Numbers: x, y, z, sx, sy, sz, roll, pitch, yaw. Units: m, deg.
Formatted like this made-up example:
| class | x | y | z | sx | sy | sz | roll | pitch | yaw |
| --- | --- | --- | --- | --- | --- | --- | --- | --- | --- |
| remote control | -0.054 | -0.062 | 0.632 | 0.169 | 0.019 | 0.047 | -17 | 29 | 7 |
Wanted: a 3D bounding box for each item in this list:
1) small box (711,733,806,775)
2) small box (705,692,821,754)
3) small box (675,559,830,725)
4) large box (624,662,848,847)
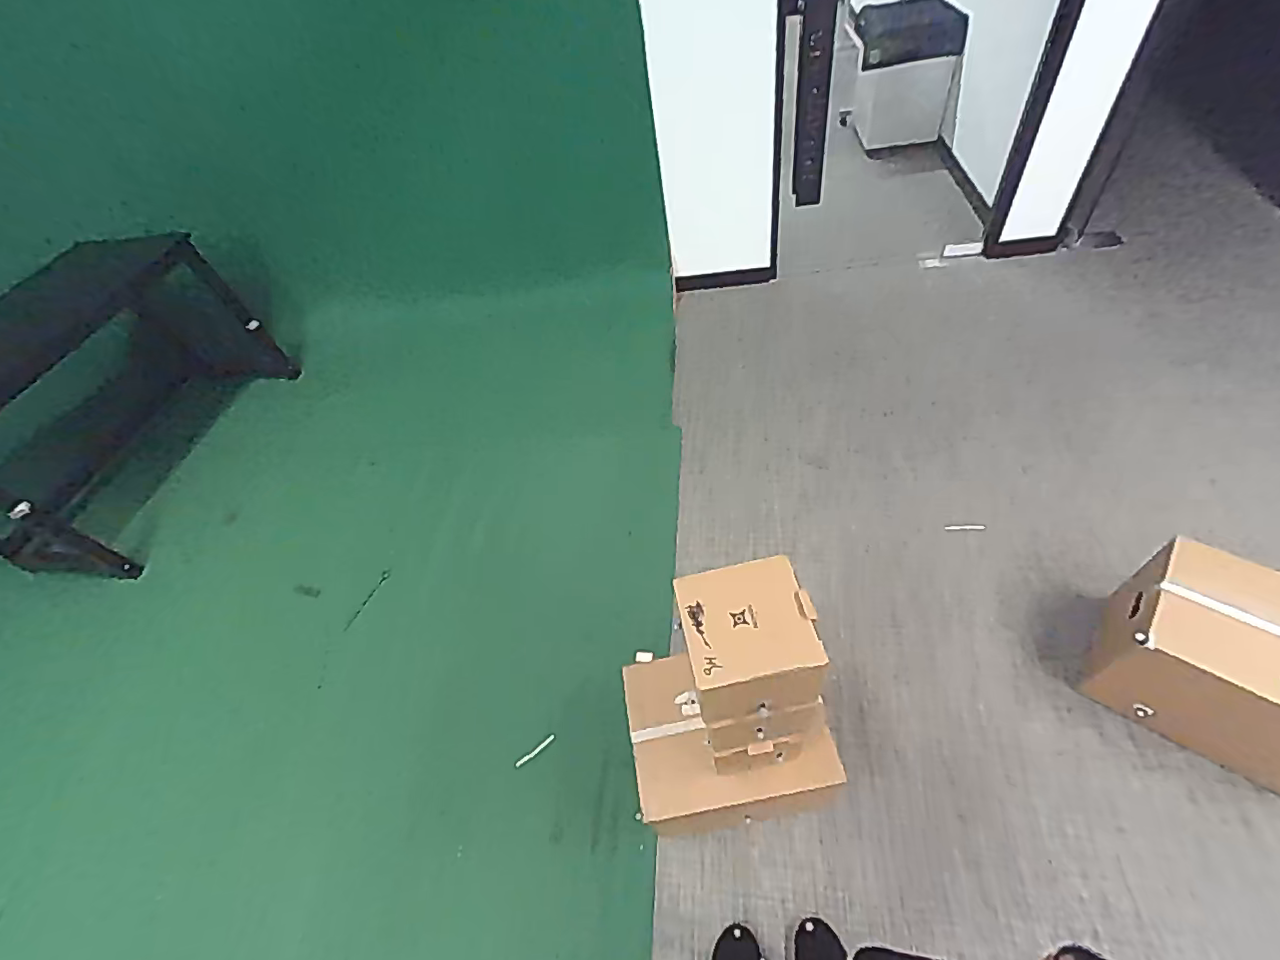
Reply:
| class | x | y | z | sx | sy | sz | roll | pitch | yaw |
| --- | --- | --- | --- | --- | --- | --- | --- | --- | --- |
| small box | 0.209 | 0.452 | 1.040 | 0.168 | 0.176 | 0.179 | -12 | 49 | 2 |
| small box | 0.186 | 0.346 | 0.918 | 0.179 | 0.176 | 0.168 | -13 | 50 | 1 |
| small box | 0.156 | 0.241 | 0.794 | 0.179 | 0.176 | 0.168 | -12 | 49 | 1 |
| large box | 0.207 | 0.605 | 1.235 | 0.408 | 0.320 | 0.320 | -14 | 48 | 3 |
